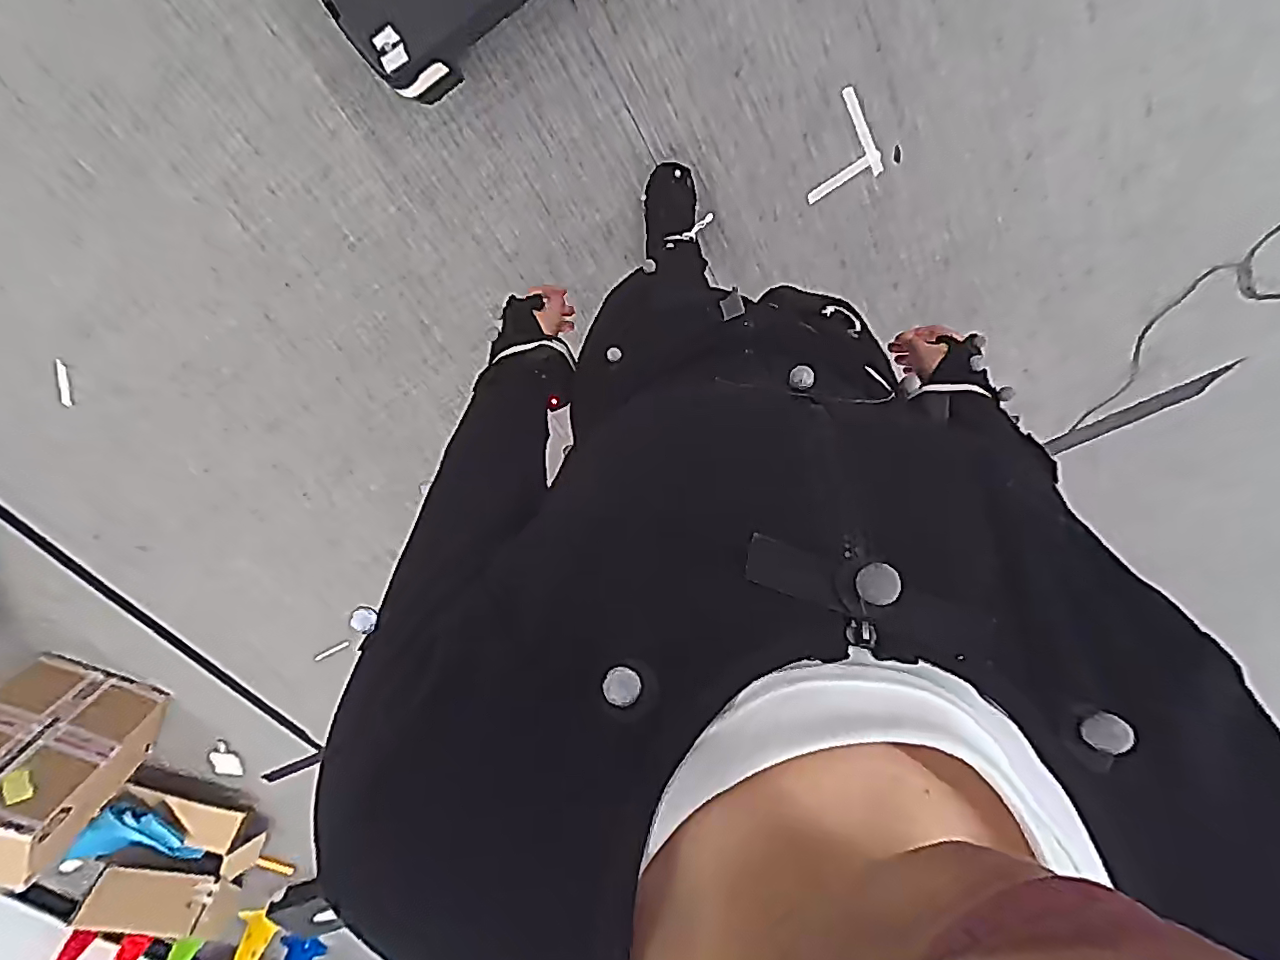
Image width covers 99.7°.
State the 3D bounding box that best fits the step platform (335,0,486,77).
[{"bbox_3d":[-0.216,-0.971,0.835,0.684,0.204,0.286,-27,115,15],"label":"step platform"}]
